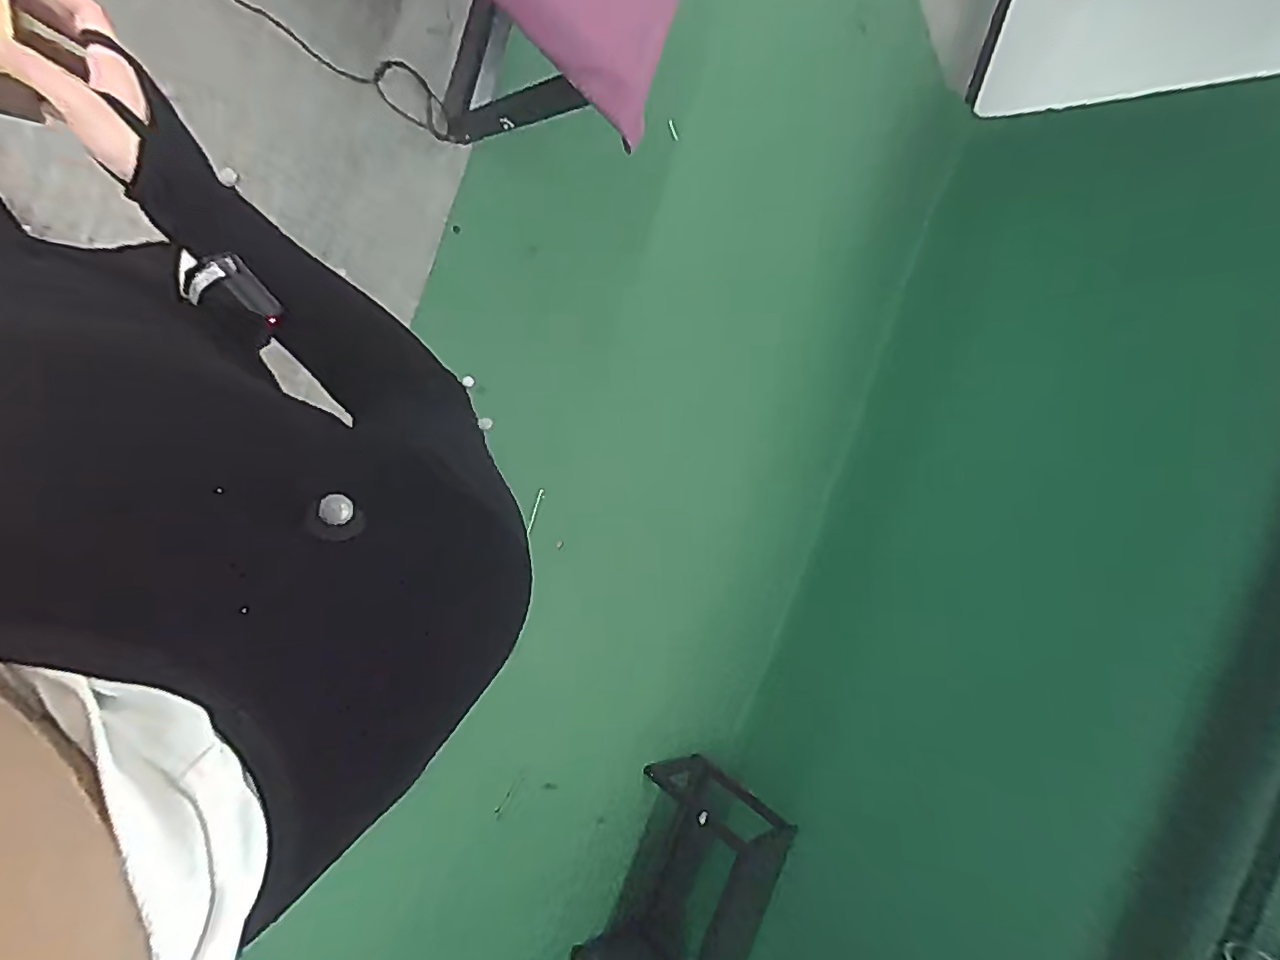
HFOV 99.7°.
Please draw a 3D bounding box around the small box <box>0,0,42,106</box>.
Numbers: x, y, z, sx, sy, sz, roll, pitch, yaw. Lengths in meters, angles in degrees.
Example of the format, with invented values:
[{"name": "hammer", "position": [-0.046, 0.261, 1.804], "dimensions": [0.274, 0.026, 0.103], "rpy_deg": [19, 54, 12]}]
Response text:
[{"name": "small box", "position": [-0.529, -0.379, 0.351], "dimensions": [0.168, 0.176, 0.179], "rpy_deg": [-7, 110, -42]}]
